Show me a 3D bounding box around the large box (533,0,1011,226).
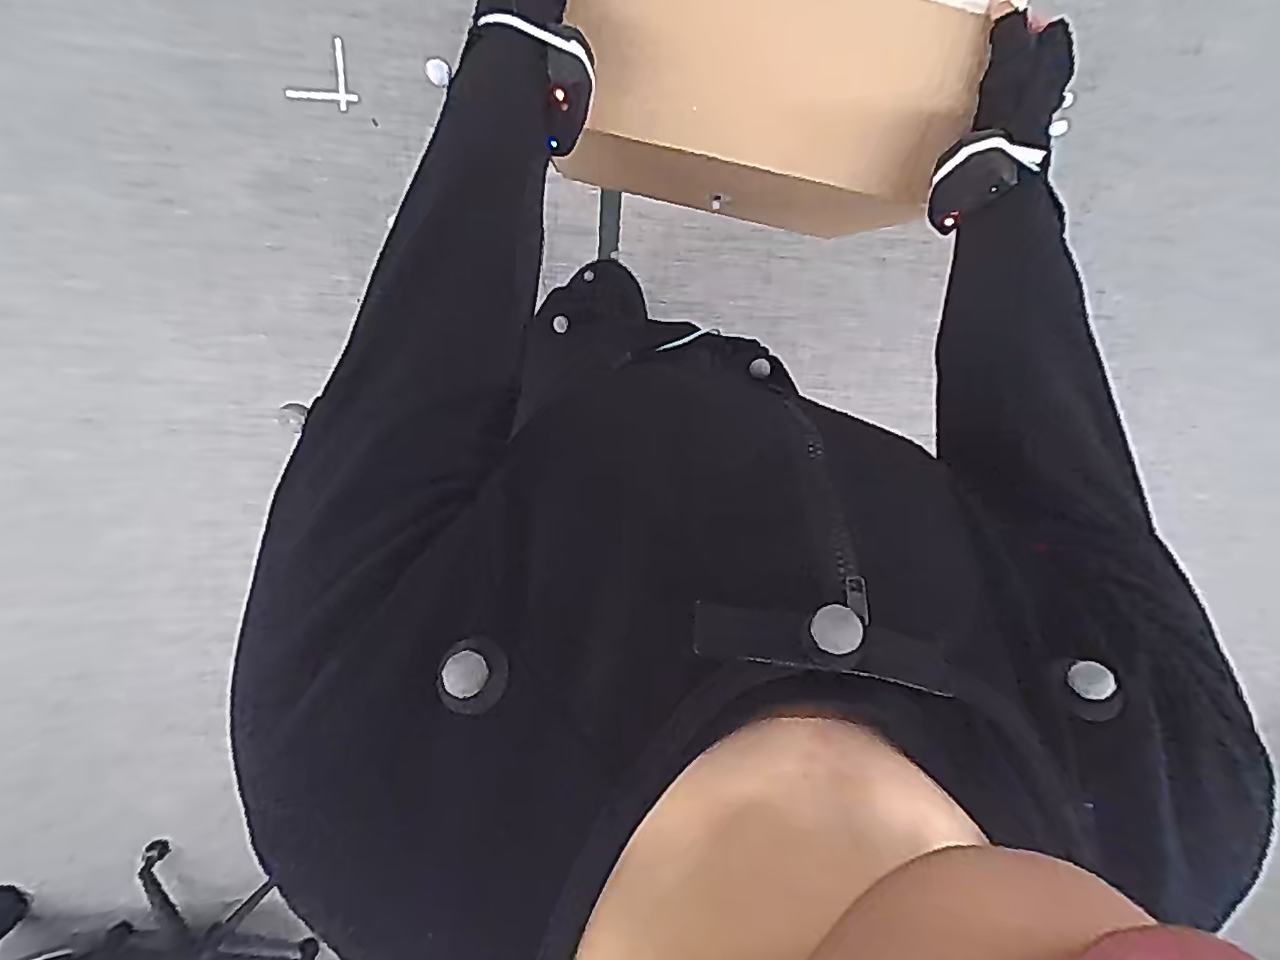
[{"bbox_3d":[0.121,-0.489,0.592,0.408,0.320,0.320,10,109,-6],"label":"large box"}]
